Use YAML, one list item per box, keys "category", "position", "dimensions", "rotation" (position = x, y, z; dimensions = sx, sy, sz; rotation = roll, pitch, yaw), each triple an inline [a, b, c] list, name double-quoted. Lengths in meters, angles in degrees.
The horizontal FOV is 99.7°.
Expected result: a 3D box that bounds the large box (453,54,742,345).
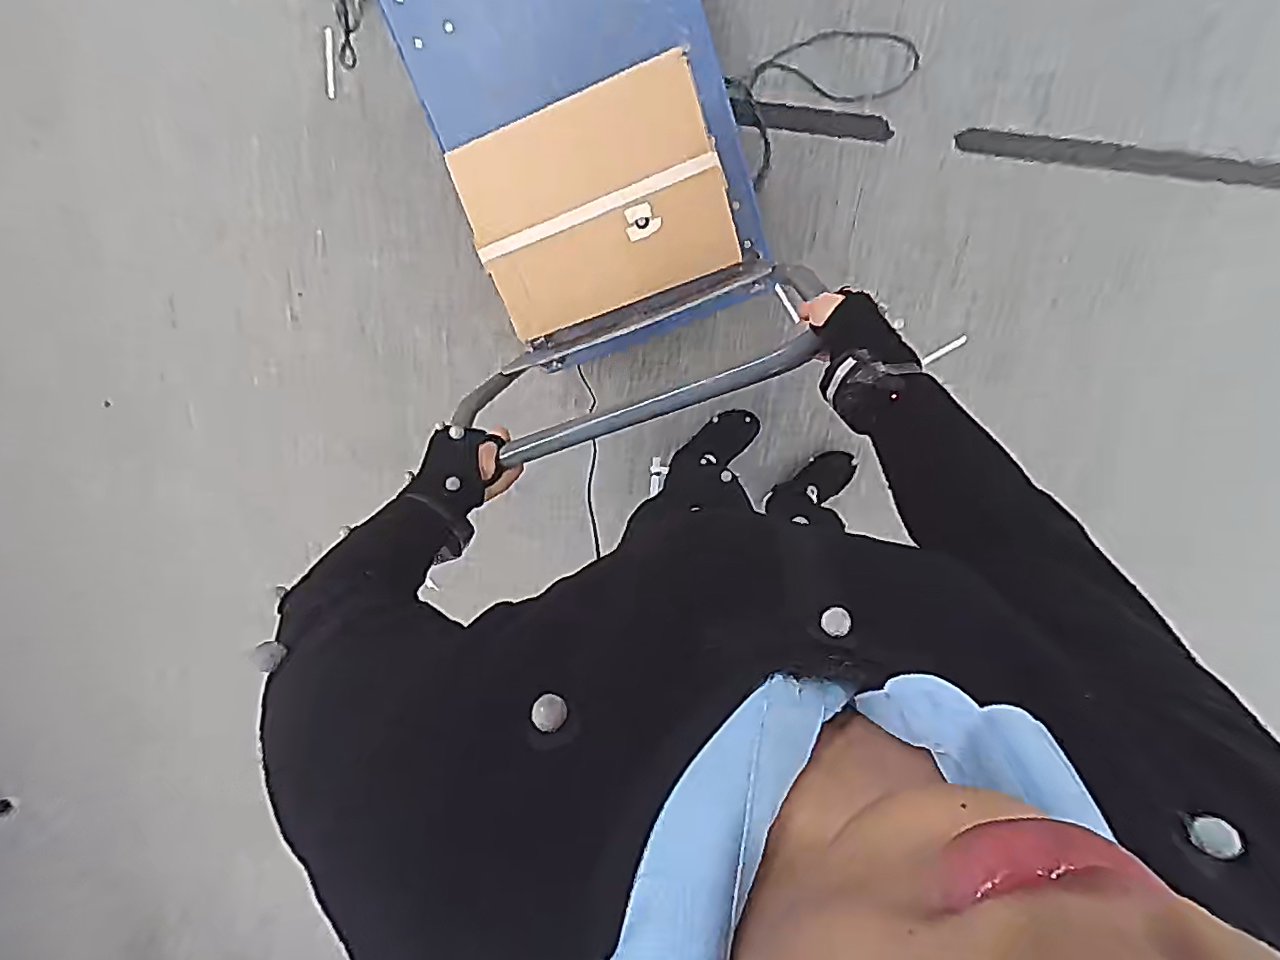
- category: "large box"
  position: [-0.058, -0.481, 1.016]
  dimensions: [0.408, 0.320, 0.320]
  rotation: [-18, 108, 10]
